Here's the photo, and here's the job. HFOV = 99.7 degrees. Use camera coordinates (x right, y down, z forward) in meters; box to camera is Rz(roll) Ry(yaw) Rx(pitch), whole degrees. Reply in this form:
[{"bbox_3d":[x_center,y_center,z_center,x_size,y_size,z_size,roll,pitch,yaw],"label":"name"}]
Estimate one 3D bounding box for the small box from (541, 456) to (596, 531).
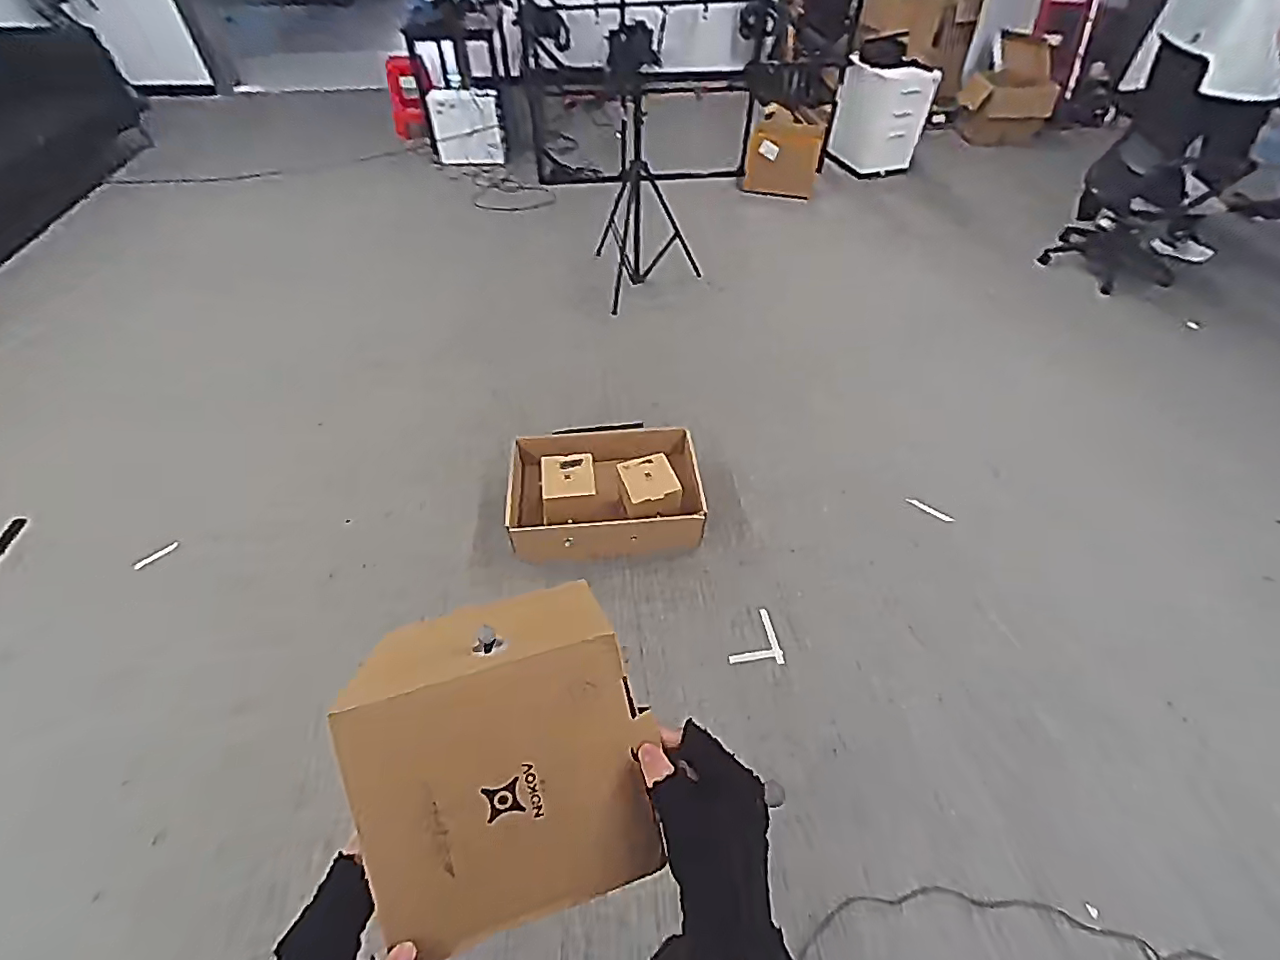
[{"bbox_3d":[-0.235,0.044,1.777,0.168,0.176,0.179,-6,50,-7],"label":"small box"}]
